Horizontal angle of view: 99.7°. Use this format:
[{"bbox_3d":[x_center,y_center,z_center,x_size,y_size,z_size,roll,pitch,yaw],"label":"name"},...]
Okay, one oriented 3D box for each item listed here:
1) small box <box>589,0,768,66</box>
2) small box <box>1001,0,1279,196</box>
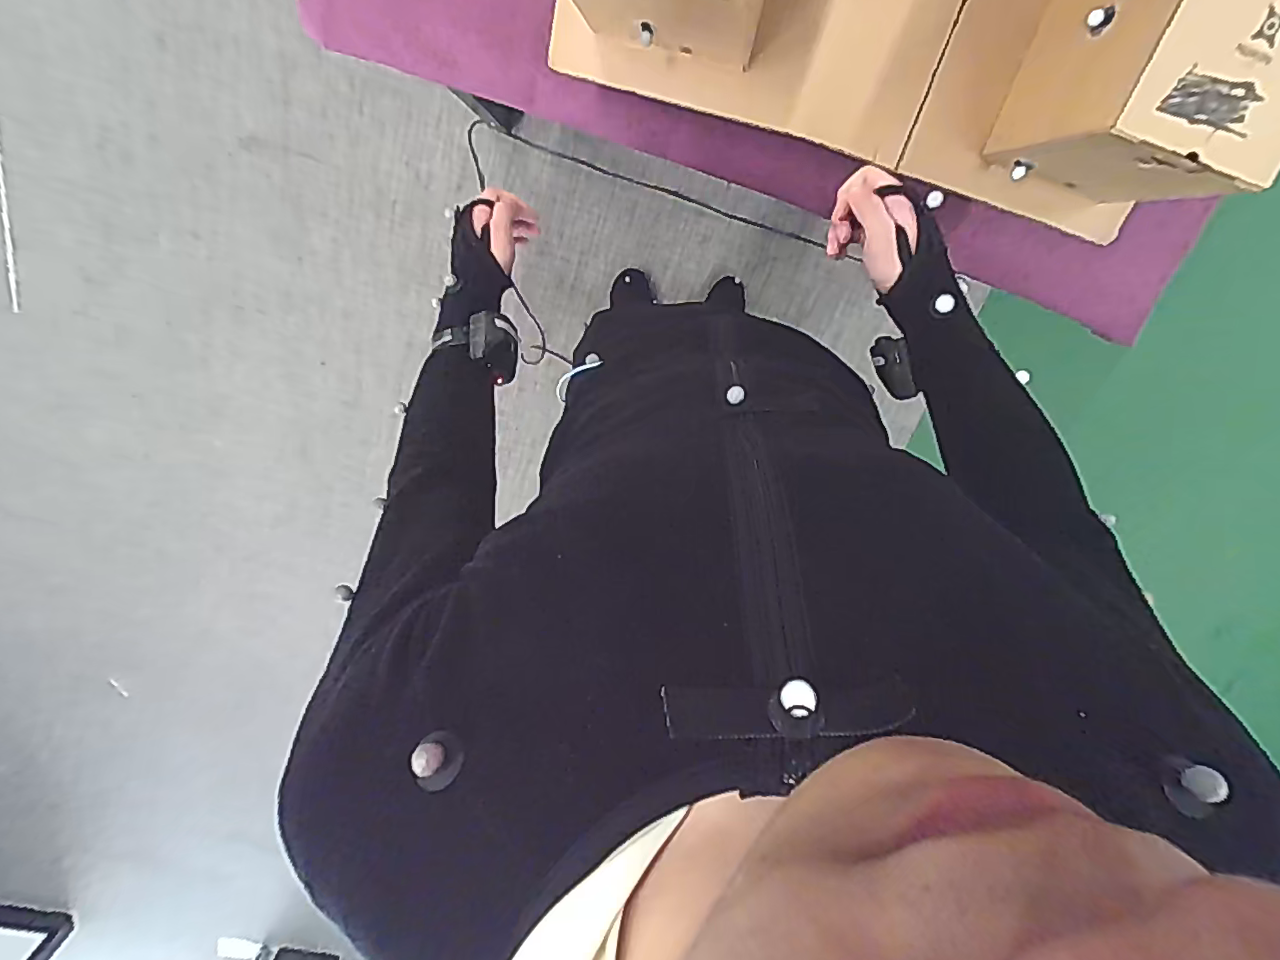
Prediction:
[{"bbox_3d":[0.041,-0.493,0.456,0.168,0.176,0.179,16,115,5],"label":"small box"},{"bbox_3d":[0.479,-0.376,0.491,0.168,0.176,0.179,13,112,-10],"label":"small box"}]
